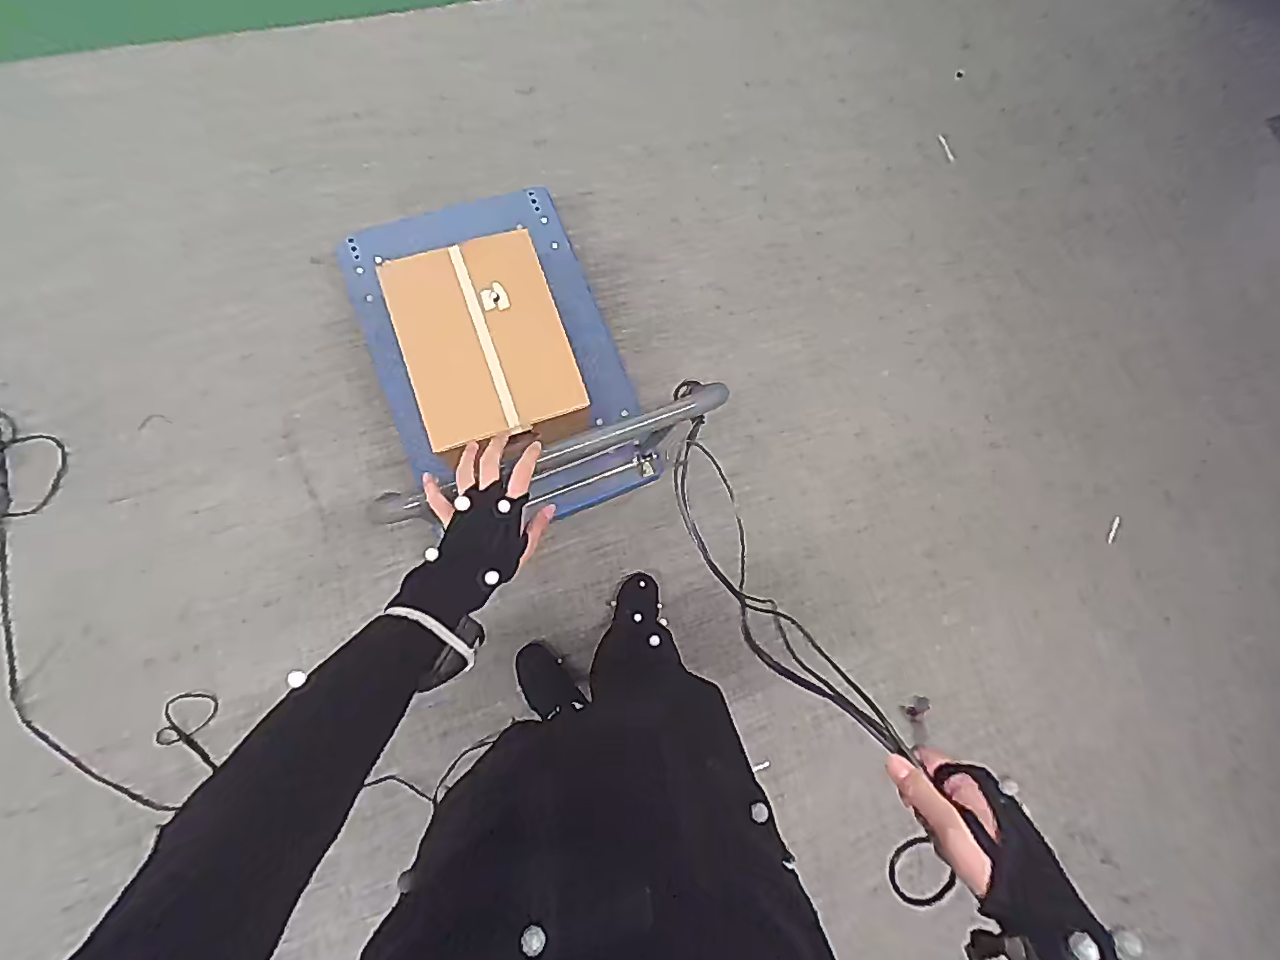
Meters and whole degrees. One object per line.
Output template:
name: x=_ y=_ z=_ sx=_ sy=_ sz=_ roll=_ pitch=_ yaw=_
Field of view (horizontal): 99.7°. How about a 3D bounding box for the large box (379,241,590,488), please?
large box: x=-0.324 y=-0.237 z=1.215 sx=0.320 sy=0.320 sz=0.408 roll=-19 pitch=81 yaw=-11
